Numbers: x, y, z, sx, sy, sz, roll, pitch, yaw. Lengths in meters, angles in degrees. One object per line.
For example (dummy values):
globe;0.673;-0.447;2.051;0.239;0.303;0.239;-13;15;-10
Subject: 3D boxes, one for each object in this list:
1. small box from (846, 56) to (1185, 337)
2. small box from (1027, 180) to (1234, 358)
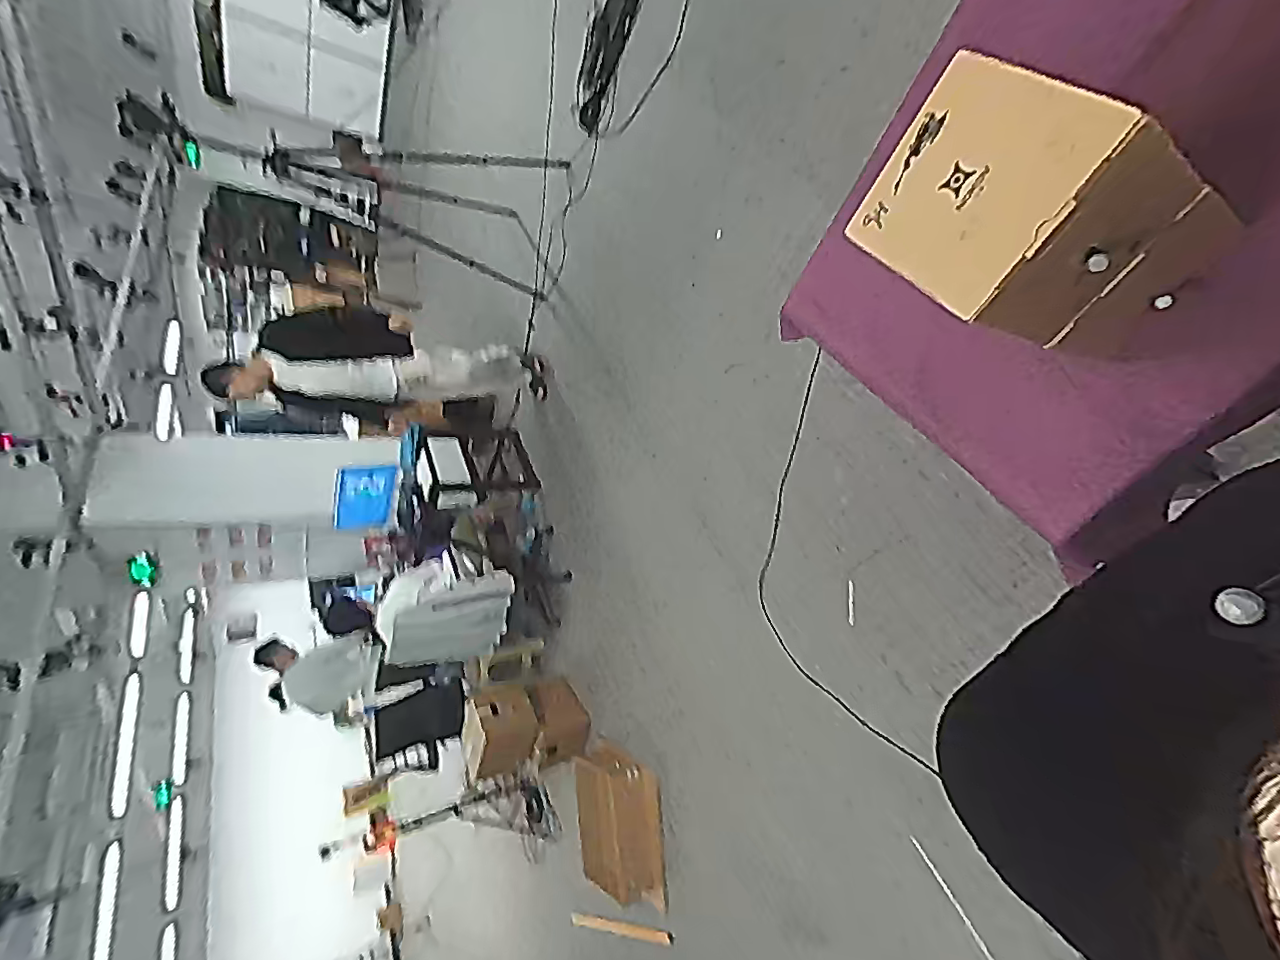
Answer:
small box;0.346;-0.252;0.512;0.179;0.176;0.168;59;135;35
small box;0.484;-0.253;0.604;0.179;0.176;0.168;60;137;35
